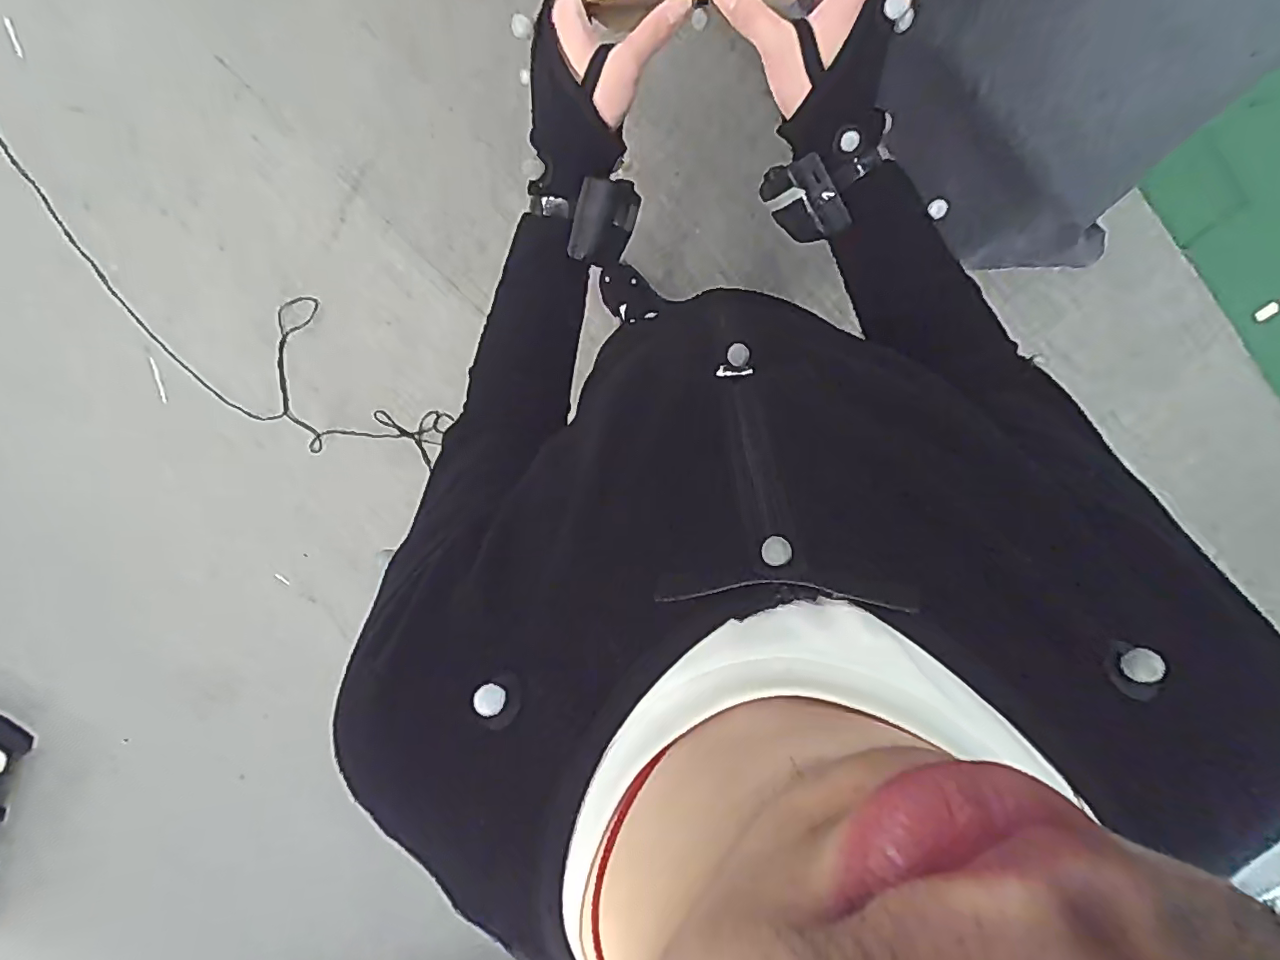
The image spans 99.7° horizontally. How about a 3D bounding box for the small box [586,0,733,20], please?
[{"bbox_3d":[0.037,-0.452,0.377,0.168,0.176,0.179,-4,122,11],"label":"small box"}]
